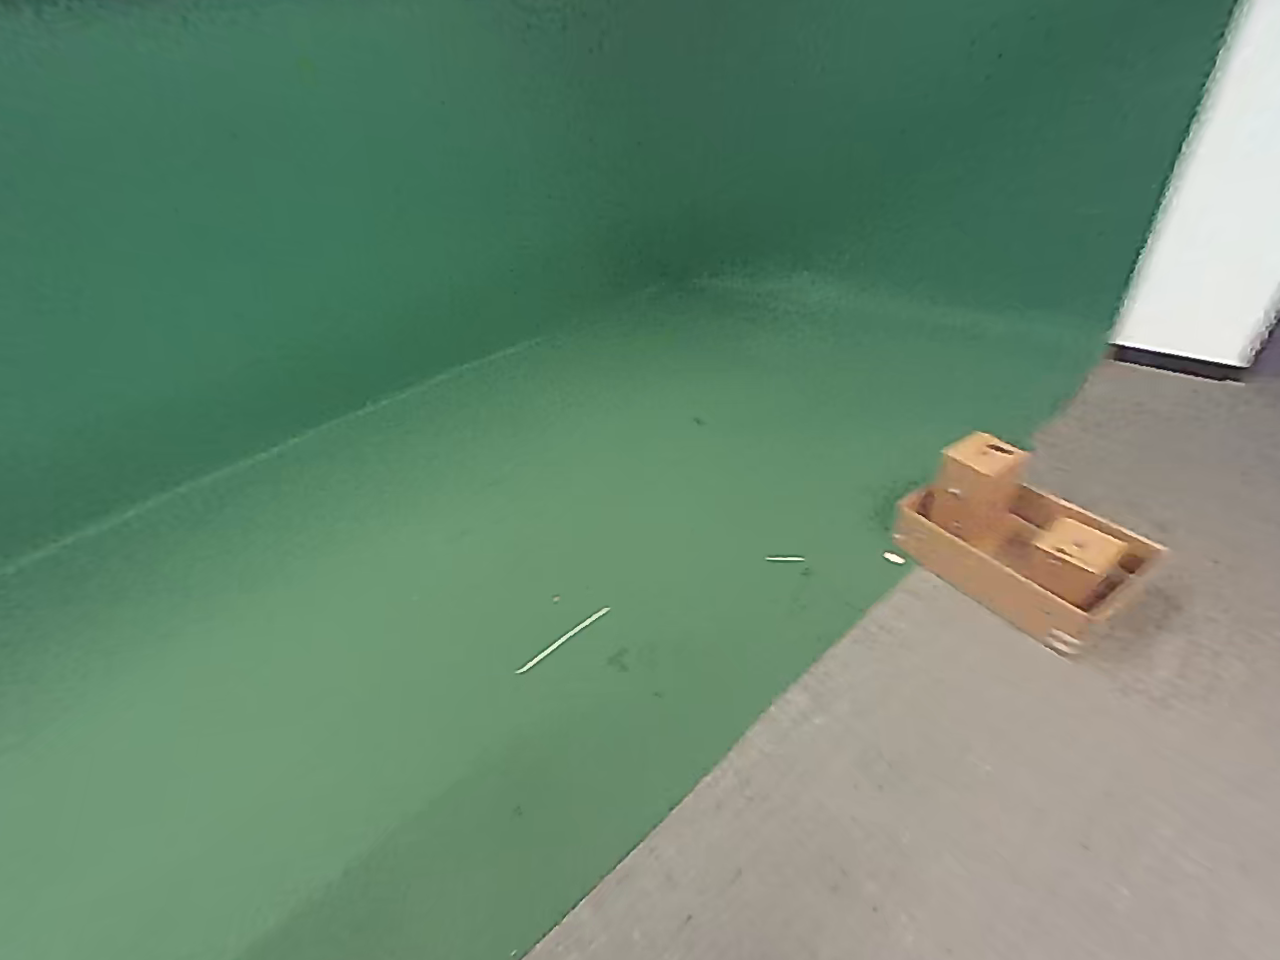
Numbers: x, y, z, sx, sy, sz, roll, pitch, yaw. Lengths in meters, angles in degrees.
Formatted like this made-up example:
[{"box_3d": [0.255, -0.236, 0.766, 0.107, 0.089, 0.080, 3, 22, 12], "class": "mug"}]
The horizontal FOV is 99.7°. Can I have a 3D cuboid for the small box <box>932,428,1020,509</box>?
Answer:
[{"box_3d": [1.095, -0.037, 1.778, 0.179, 0.176, 0.168, -26, 41, -16], "class": "small box"}]

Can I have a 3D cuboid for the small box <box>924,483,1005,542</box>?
[{"box_3d": [1.120, 0.085, 1.884, 0.179, 0.176, 0.168, -26, 42, -18], "class": "small box"}]
